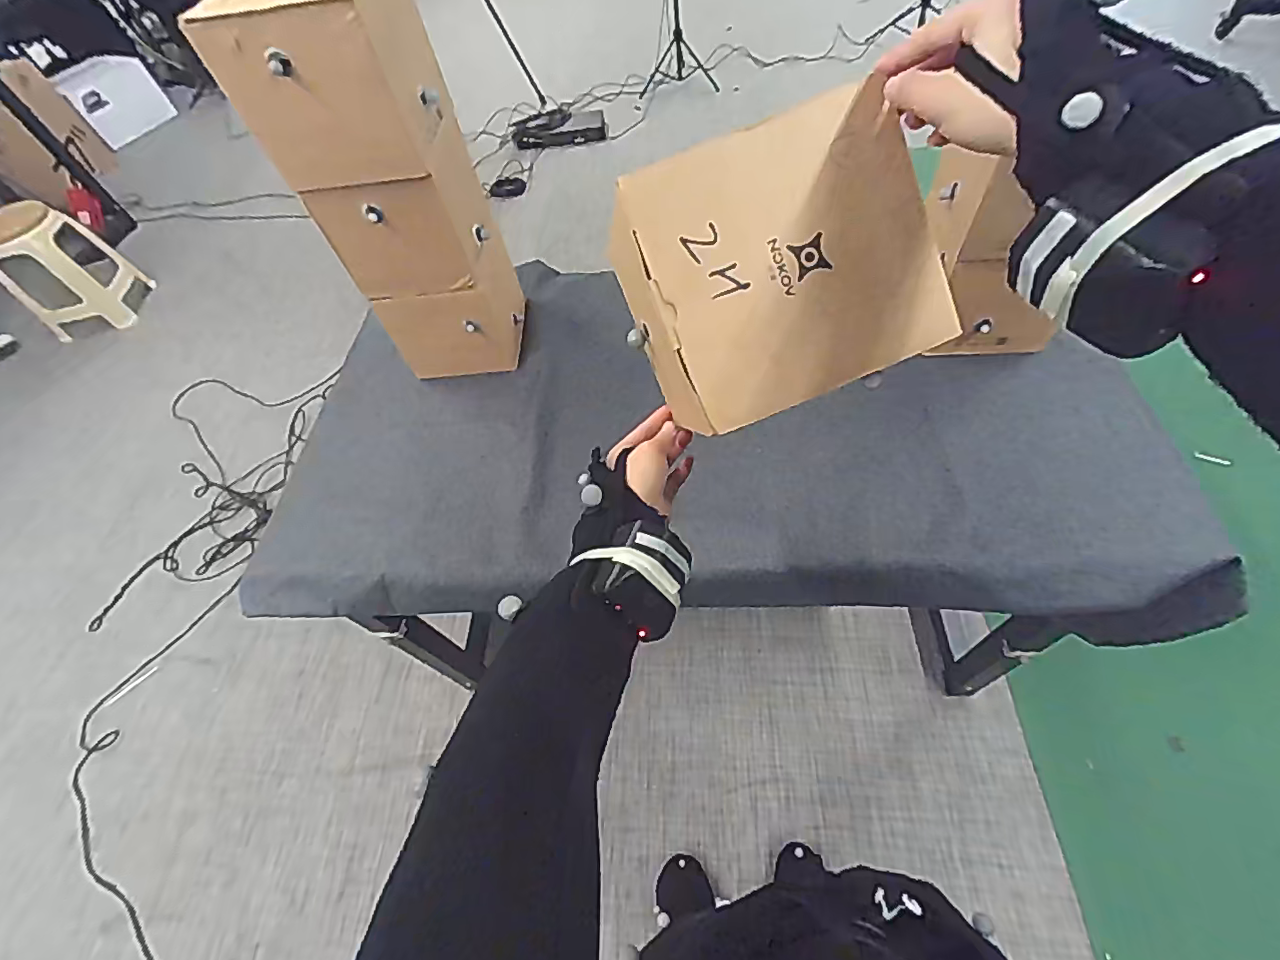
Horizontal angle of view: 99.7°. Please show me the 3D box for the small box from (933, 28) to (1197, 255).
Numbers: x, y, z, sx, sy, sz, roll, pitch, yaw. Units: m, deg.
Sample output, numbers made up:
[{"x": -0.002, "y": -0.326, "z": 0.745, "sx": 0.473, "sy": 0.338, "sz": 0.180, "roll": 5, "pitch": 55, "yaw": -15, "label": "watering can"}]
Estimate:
[{"x": 0.471, "y": -0.385, "z": 0.638, "sx": 0.168, "sy": 0.176, "sz": 0.179, "roll": 1, "pitch": 59, "yaw": 9, "label": "small box"}]

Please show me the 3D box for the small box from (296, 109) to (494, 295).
[{"x": -0.322, "y": -0.378, "z": 0.753, "sx": 0.179, "sy": 0.176, "sz": 0.168, "roll": -4, "pitch": 58, "yaw": 4, "label": "small box"}]

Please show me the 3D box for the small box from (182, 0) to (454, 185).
[{"x": -0.338, "y": -0.458, "z": 0.610, "sx": 0.179, "sy": 0.176, "sz": 0.168, "roll": -3, "pitch": 58, "yaw": 5, "label": "small box"}]

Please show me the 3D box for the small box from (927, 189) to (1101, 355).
[{"x": 0.496, "y": -0.302, "z": 0.777, "sx": 0.168, "sy": 0.176, "sz": 0.179, "roll": 0, "pitch": 58, "yaw": 9, "label": "small box"}]

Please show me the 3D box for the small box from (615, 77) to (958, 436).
[{"x": 0.089, "y": -0.145, "z": 0.408, "sx": 0.179, "sy": 0.176, "sz": 0.168, "roll": -22, "pitch": 99, "yaw": 0, "label": "small box"}]
